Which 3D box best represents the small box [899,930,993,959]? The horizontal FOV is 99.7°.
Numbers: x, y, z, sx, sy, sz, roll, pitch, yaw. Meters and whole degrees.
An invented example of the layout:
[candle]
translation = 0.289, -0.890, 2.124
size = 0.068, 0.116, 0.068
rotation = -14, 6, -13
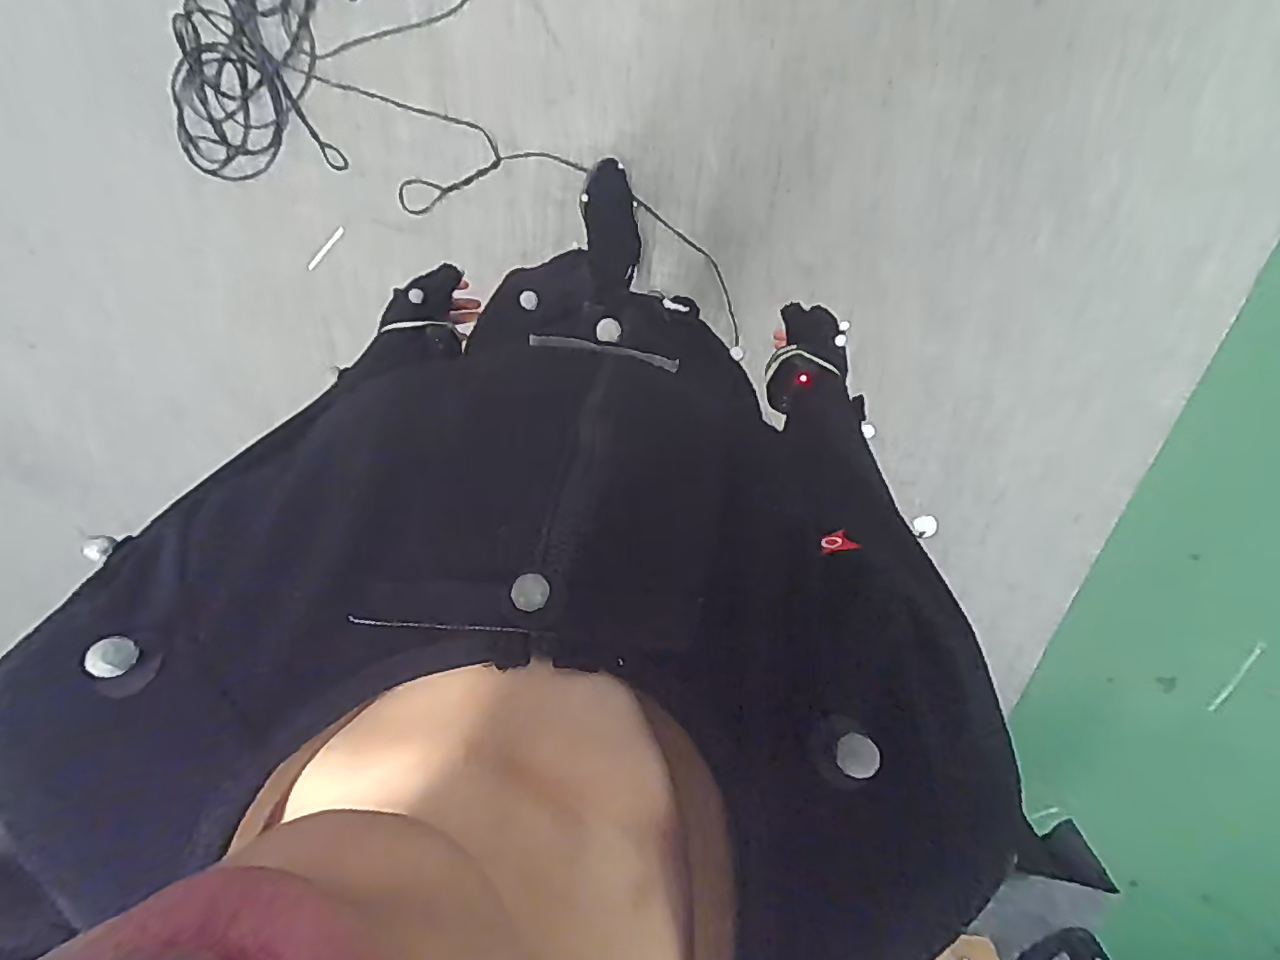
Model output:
[small box]
translation = 0.680, 1.115, 1.162
size = 0.168, 0.176, 0.179
rotation = 3, 116, 0
